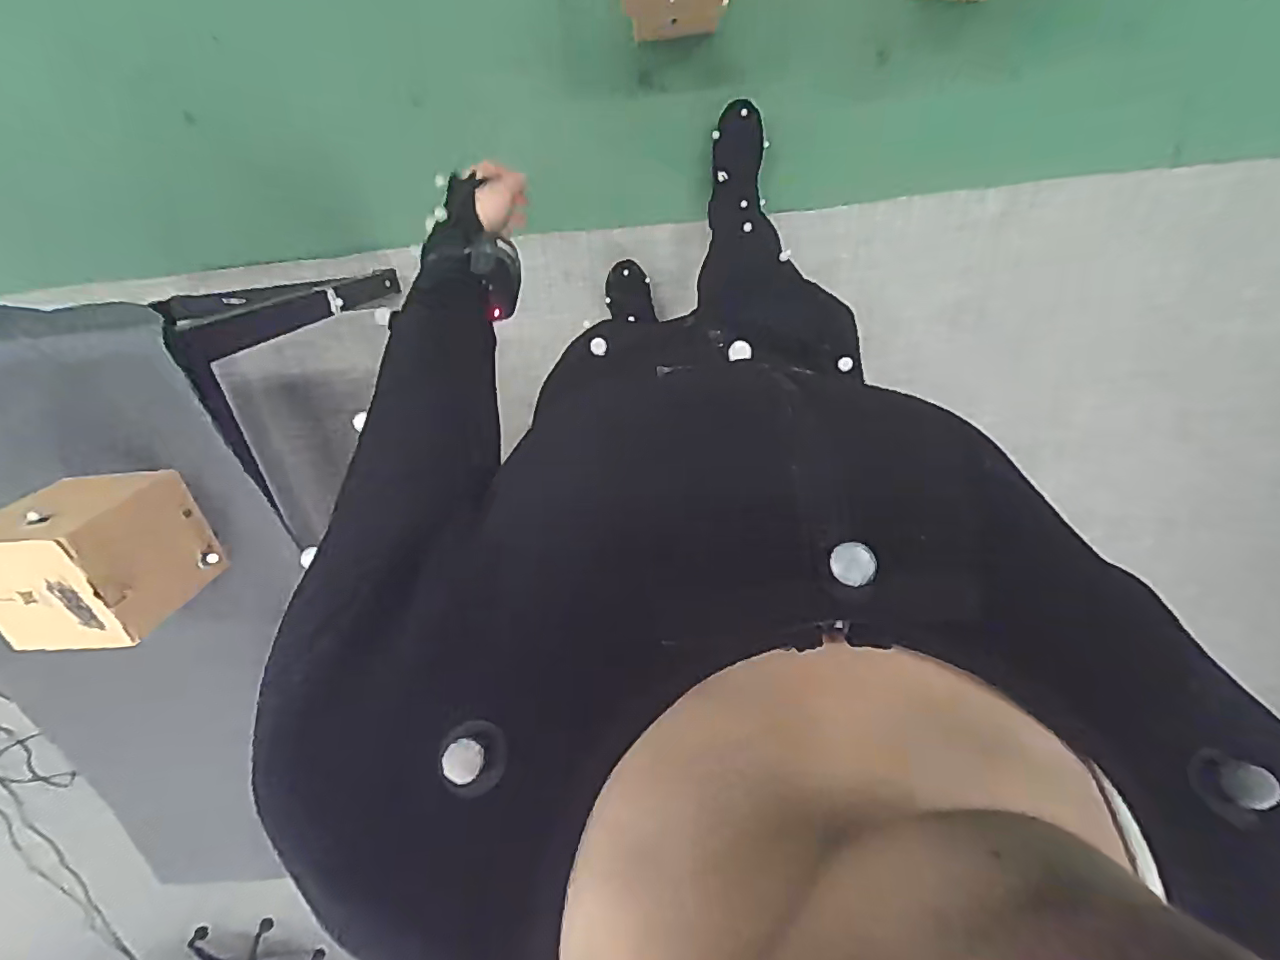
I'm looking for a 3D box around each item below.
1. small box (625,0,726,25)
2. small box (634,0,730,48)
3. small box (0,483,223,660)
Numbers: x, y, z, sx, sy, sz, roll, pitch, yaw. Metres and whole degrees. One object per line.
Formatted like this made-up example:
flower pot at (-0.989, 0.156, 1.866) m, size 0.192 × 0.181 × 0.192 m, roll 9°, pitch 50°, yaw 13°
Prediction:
small box at (0.057, -0.855, 0.861) m, size 0.179 × 0.176 × 0.168 m, roll -4°, pitch 118°, yaw 1°
small box at (0.069, -0.931, 1.005) m, size 0.179 × 0.176 × 0.168 m, roll -5°, pitch 118°, yaw 3°
small box at (-0.704, 0.114, 0.714) m, size 0.179 × 0.176 × 0.168 m, roll -4°, pitch 118°, yaw 5°
